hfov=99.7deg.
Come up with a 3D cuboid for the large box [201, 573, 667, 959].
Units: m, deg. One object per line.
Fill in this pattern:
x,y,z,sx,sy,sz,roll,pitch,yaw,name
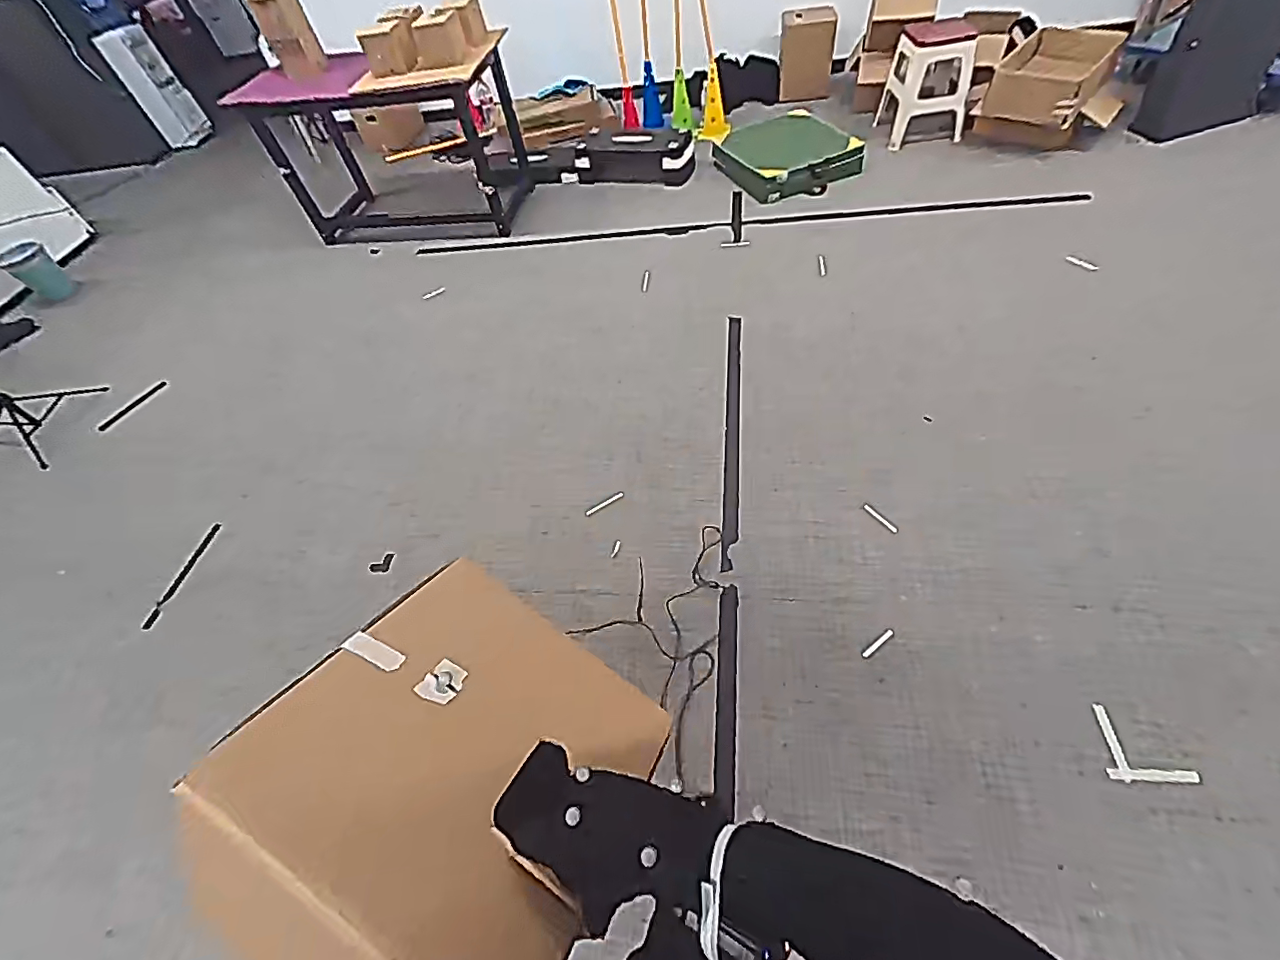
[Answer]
-0.232,0.389,0.625,0.320,0.408,0.320,37,36,7,large box
